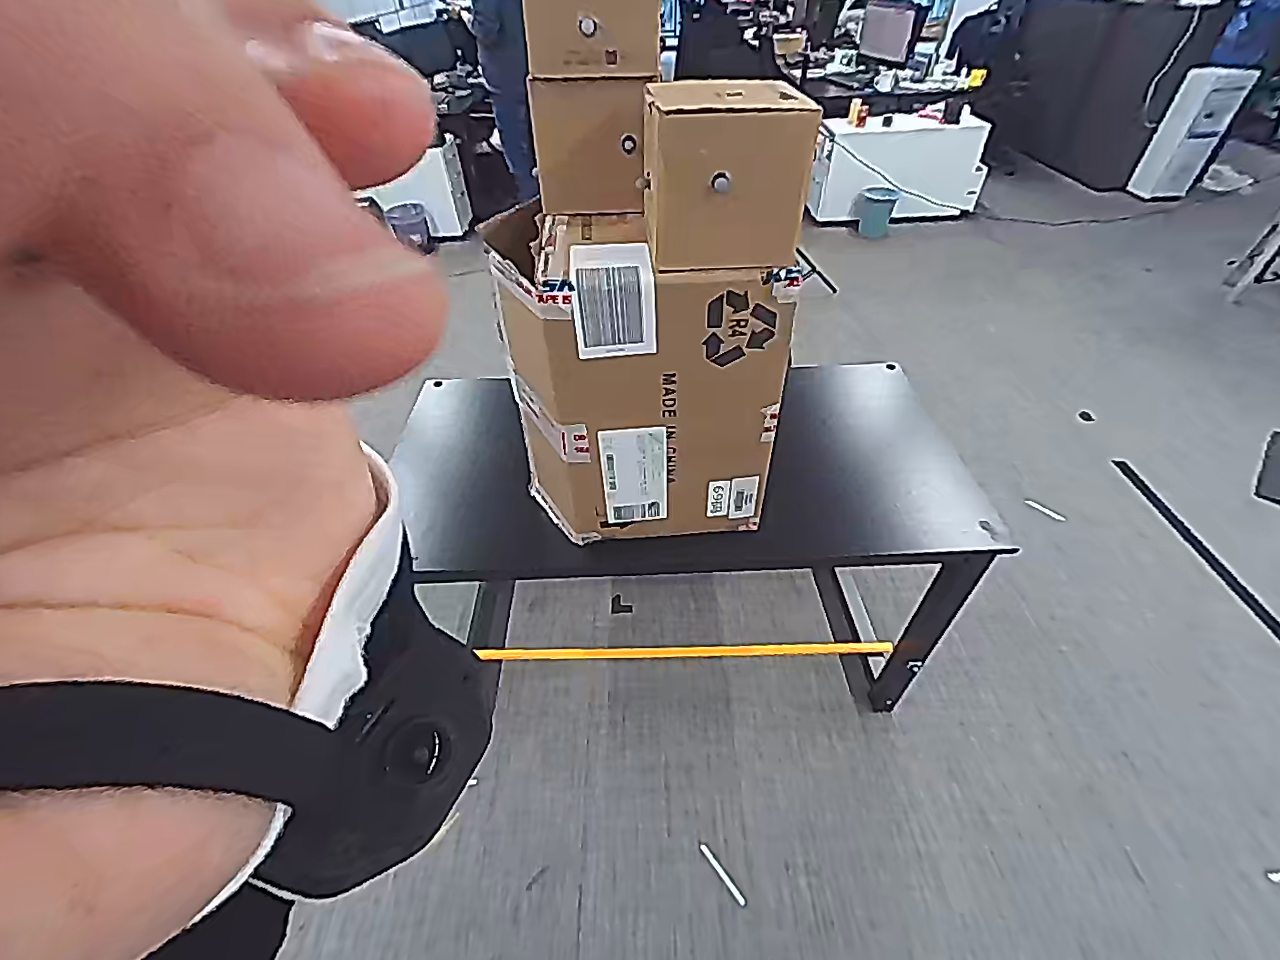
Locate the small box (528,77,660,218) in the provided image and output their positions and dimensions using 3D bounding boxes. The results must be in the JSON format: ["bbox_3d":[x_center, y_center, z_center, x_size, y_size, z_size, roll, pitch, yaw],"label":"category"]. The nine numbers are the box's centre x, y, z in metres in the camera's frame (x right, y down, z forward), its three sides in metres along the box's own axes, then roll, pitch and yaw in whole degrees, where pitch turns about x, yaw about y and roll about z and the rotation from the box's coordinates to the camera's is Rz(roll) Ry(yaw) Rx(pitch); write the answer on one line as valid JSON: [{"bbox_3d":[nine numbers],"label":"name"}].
[{"bbox_3d":[-0.064,-0.510,0.820,0.179,0.176,0.168,-4,41,-2],"label":"small box"}]

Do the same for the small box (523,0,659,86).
[{"bbox_3d":[-0.063,-0.629,0.706,0.168,0.176,0.179,-3,42,-2],"label":"small box"}]

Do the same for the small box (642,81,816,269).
[{"bbox_3d":[0.098,-0.377,0.676,0.179,0.176,0.168,-4,46,-2],"label":"small box"}]
